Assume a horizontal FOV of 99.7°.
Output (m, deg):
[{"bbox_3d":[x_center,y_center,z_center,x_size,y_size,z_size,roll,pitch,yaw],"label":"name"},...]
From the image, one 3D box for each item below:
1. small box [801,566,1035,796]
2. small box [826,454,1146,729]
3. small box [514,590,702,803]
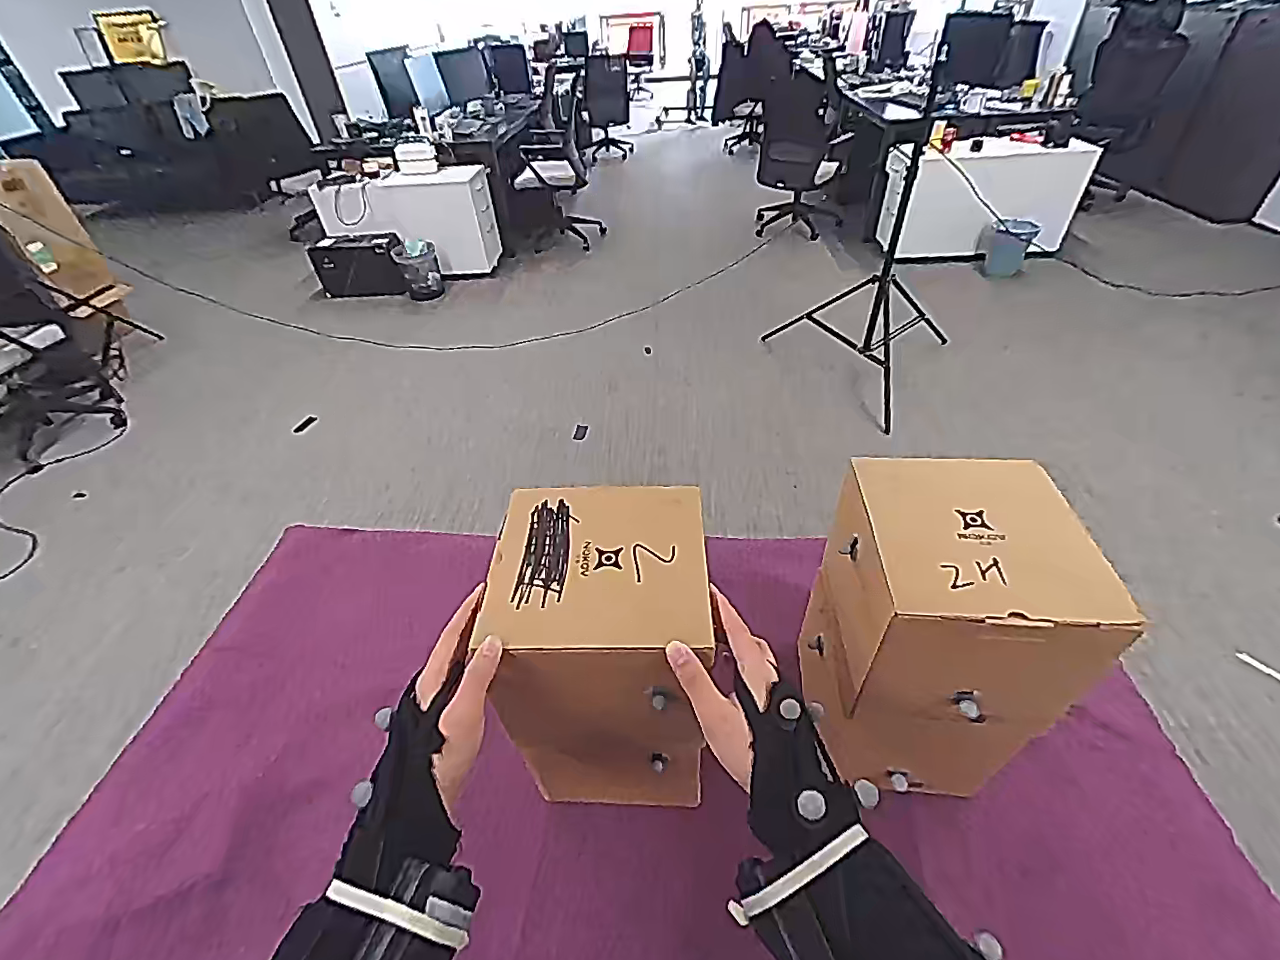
[{"bbox_3d":[0.280,0.218,0.598,0.168,0.176,0.179,2,43,7],"label":"small box"},{"bbox_3d":[0.274,0.096,0.487,0.168,0.176,0.179,1,42,7],"label":"small box"},{"bbox_3d":[-0.022,0.240,0.601,0.179,0.176,0.168,0,42,3],"label":"small box"}]
